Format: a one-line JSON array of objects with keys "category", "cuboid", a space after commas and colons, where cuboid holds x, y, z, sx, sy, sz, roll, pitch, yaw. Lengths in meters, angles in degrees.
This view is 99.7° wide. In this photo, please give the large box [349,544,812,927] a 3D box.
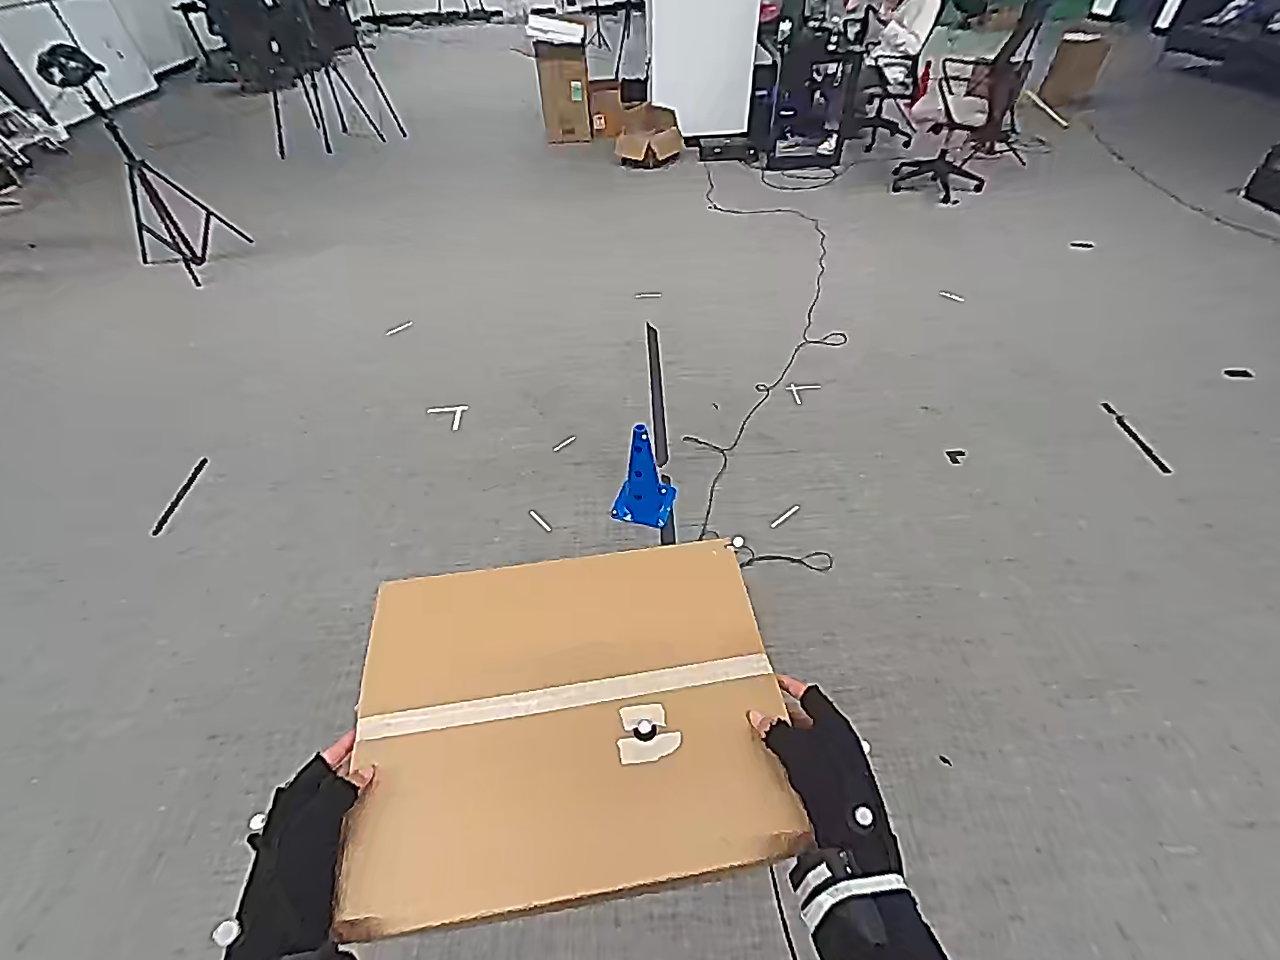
[{"category": "large box", "cuboid": [-0.067, 0.312, 0.662, 0.408, 0.320, 0.320, -6, 52, -6]}]

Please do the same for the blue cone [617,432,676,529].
[{"category": "blue cone", "cuboid": [0.017, -0.021, 1.844, 0.193, 0.380, 0.192, 12, 49, 15]}]
